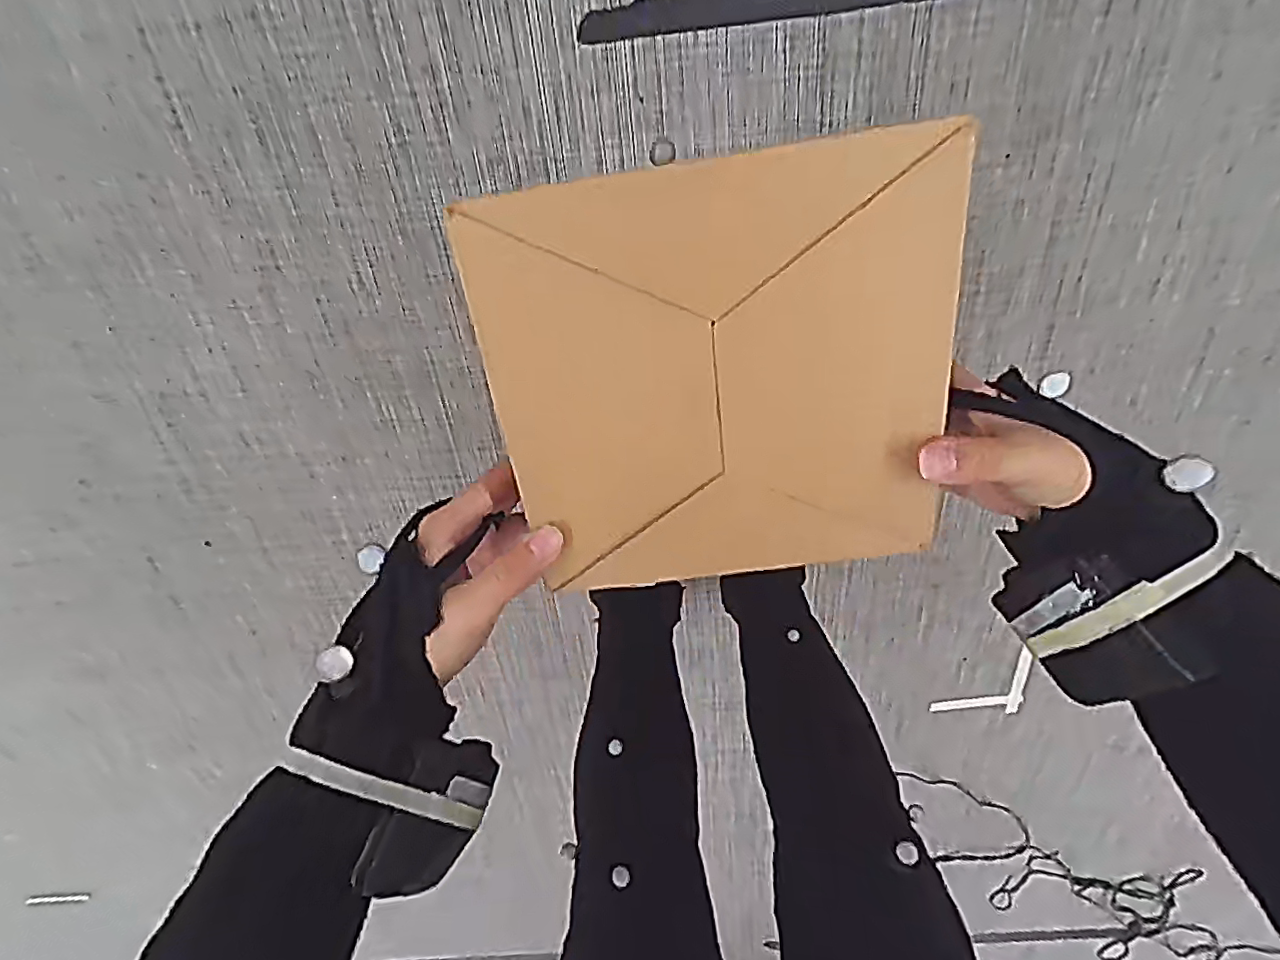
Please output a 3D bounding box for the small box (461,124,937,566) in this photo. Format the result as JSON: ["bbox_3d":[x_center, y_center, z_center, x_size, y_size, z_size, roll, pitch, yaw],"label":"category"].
[{"bbox_3d":[0.032,-0.072,0.284,0.179,0.176,0.168,-8,117,3],"label":"small box"}]
